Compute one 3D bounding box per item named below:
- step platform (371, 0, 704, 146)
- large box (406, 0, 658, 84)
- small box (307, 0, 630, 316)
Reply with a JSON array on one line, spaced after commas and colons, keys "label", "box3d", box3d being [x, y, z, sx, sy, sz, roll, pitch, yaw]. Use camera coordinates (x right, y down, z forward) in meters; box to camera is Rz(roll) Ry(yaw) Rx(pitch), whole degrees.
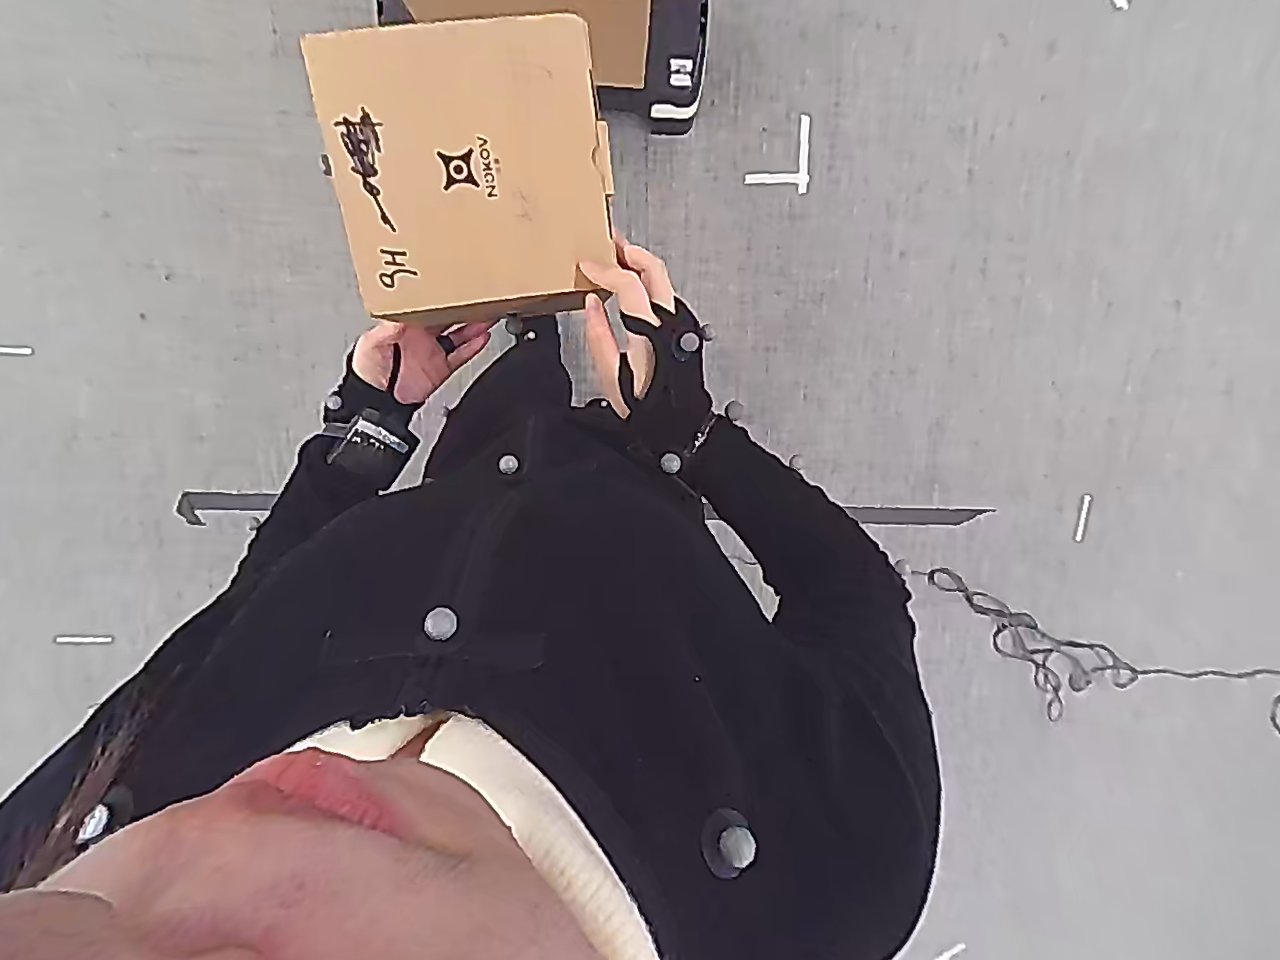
[{"label": "step platform", "box3d": [-0.206, -0.953, 1.164, 0.684, 0.204, 0.286, 7, 102, -2]}, {"label": "large box", "box3d": [-0.170, -0.926, 0.927, 0.408, 0.320, 0.320, 2, 102, -1]}, {"label": "small box", "box3d": [-0.112, -0.224, 0.418, 0.179, 0.176, 0.168, -9, 103, -7]}]
